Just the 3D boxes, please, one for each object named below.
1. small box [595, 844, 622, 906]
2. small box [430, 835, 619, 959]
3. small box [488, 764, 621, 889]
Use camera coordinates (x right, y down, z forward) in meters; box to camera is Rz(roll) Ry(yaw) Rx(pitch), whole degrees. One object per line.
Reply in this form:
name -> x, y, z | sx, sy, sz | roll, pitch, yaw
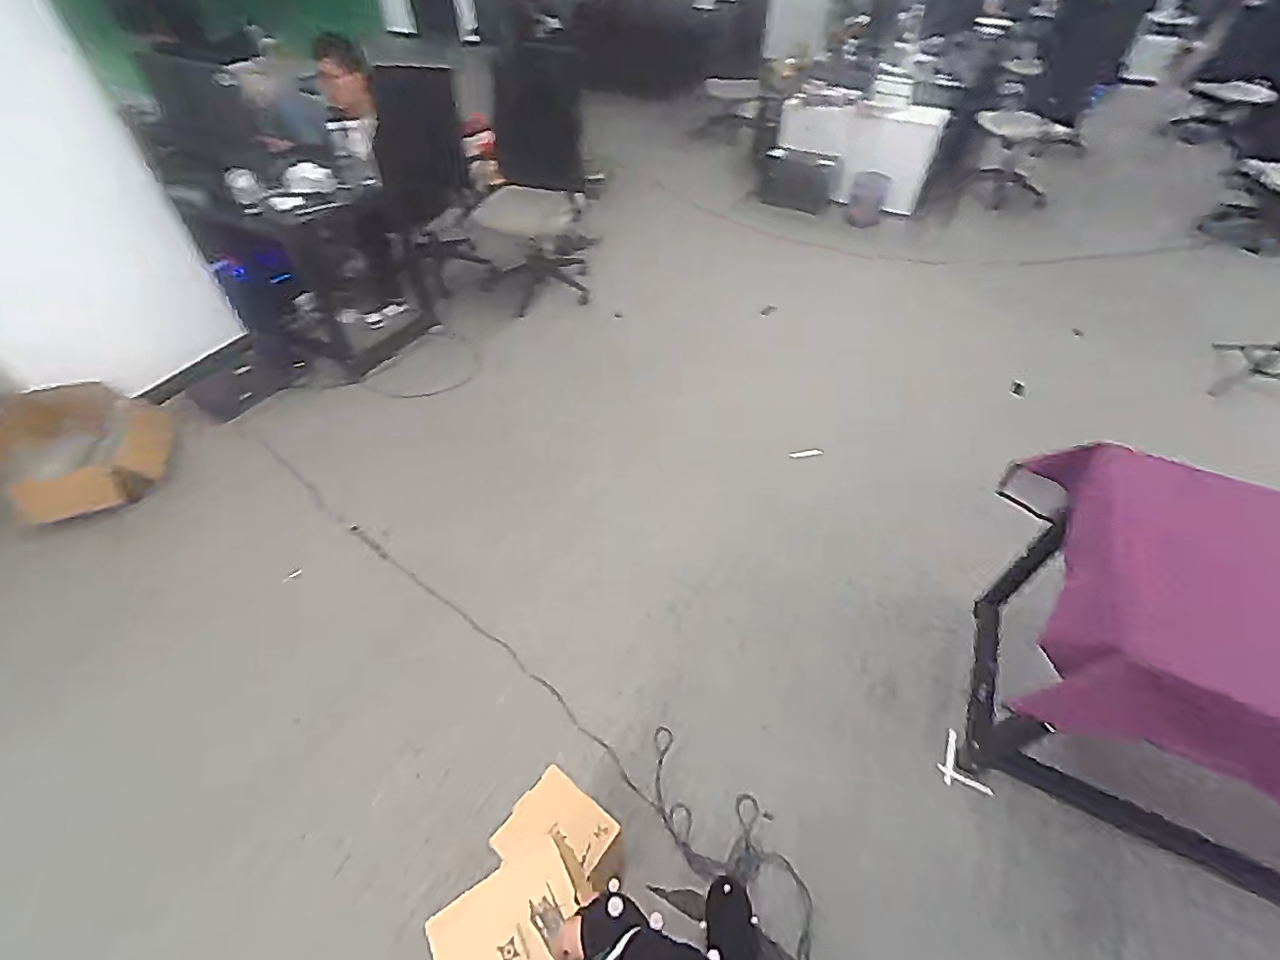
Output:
small box -> -0.156, 0.900, 1.264 | 0.179, 0.176, 0.168 | 23, 52, 19
small box -> -0.136, 0.597, 0.692 | 0.179, 0.176, 0.168 | -27, 52, -17
small box -> -0.153, 0.684, 1.019 | 0.179, 0.176, 0.168 | 30, 55, 25
